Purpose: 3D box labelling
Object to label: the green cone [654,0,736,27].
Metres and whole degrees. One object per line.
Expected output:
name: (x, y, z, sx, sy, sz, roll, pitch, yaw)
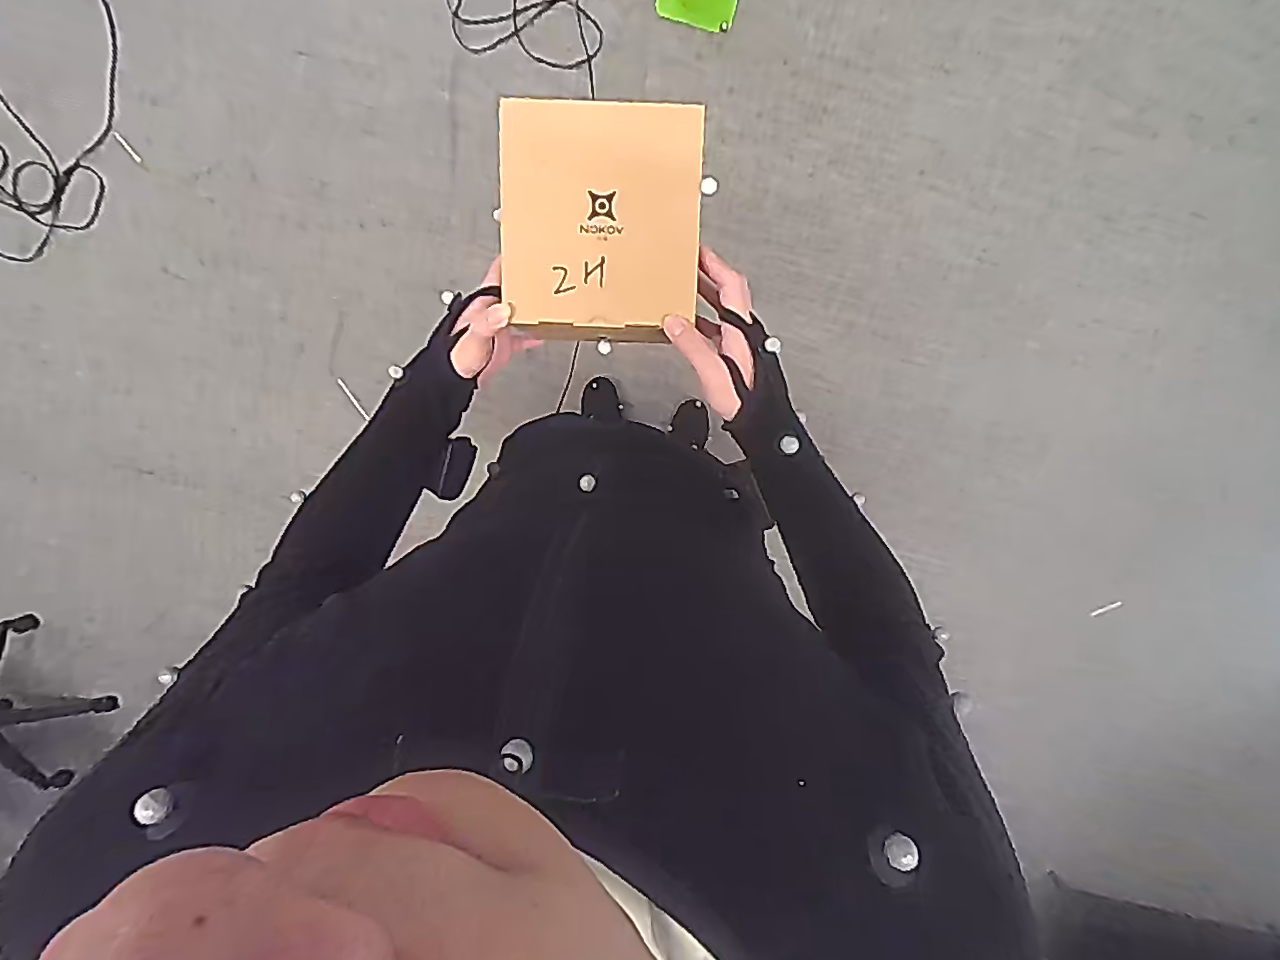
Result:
green cone: (0.144, -1.221, 1.172, 0.202, 0.368, 0.200, 15, 101, -1)
